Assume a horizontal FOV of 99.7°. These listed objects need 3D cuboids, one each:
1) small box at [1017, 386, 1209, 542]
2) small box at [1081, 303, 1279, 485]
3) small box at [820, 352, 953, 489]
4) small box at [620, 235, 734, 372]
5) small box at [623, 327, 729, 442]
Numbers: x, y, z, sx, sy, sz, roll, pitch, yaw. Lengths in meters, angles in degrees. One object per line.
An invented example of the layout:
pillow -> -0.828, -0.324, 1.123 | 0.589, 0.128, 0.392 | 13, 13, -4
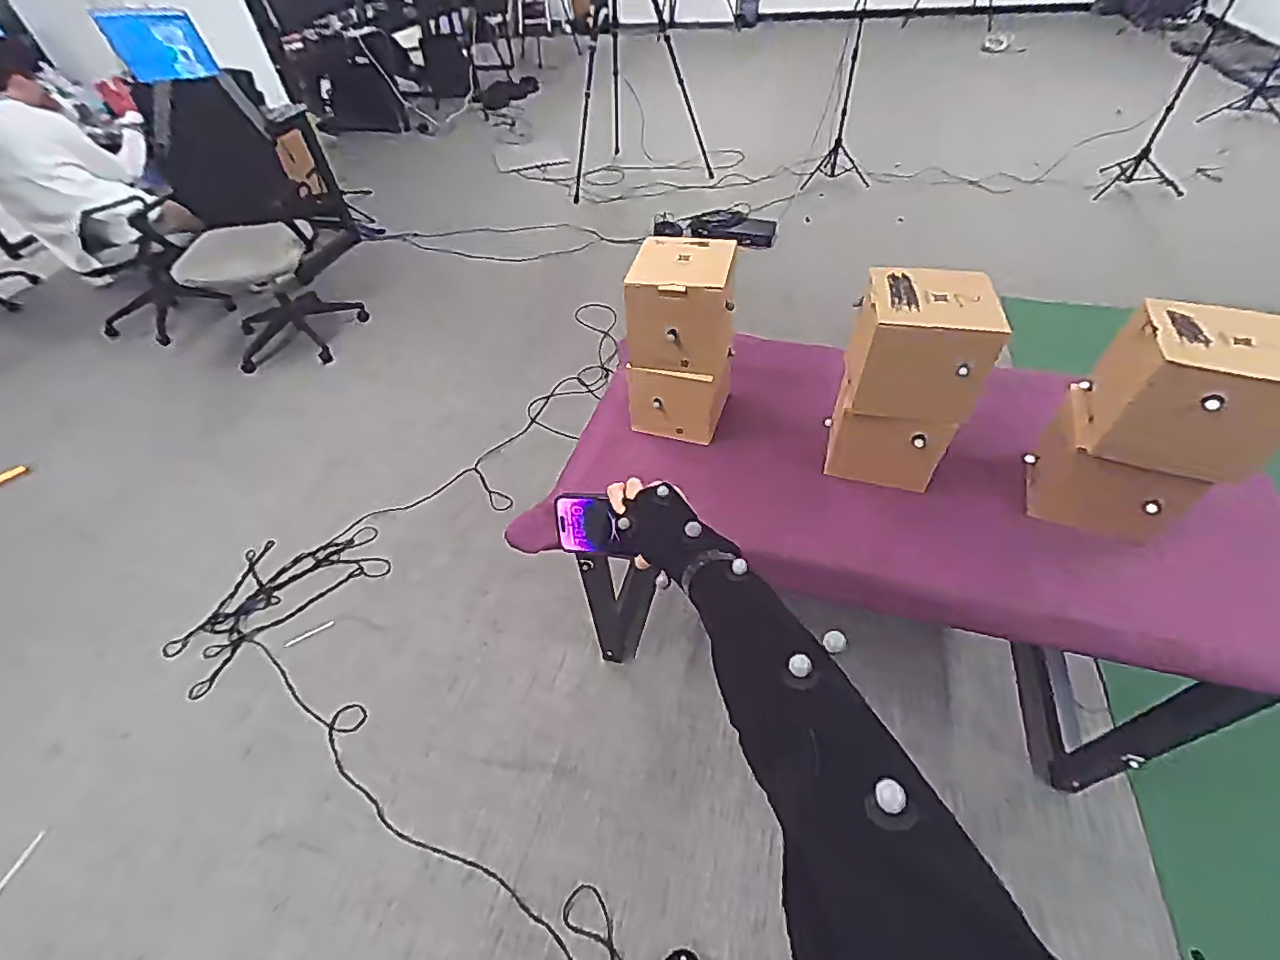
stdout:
small box -> 0.756, -0.022, 0.884 | 0.179, 0.176, 0.168 | 18, 52, 19
small box -> 0.751, -0.117, 0.751 | 0.179, 0.176, 0.168 | 18, 52, 18
small box -> 0.439, -0.104, 0.978 | 0.179, 0.176, 0.168 | 13, 50, 15
small box -> 0.071, -0.316, 0.973 | 0.168, 0.176, 0.179 | 9, 51, 11
small box -> 0.078, -0.201, 1.091 | 0.168, 0.176, 0.179 | 13, 51, 15
